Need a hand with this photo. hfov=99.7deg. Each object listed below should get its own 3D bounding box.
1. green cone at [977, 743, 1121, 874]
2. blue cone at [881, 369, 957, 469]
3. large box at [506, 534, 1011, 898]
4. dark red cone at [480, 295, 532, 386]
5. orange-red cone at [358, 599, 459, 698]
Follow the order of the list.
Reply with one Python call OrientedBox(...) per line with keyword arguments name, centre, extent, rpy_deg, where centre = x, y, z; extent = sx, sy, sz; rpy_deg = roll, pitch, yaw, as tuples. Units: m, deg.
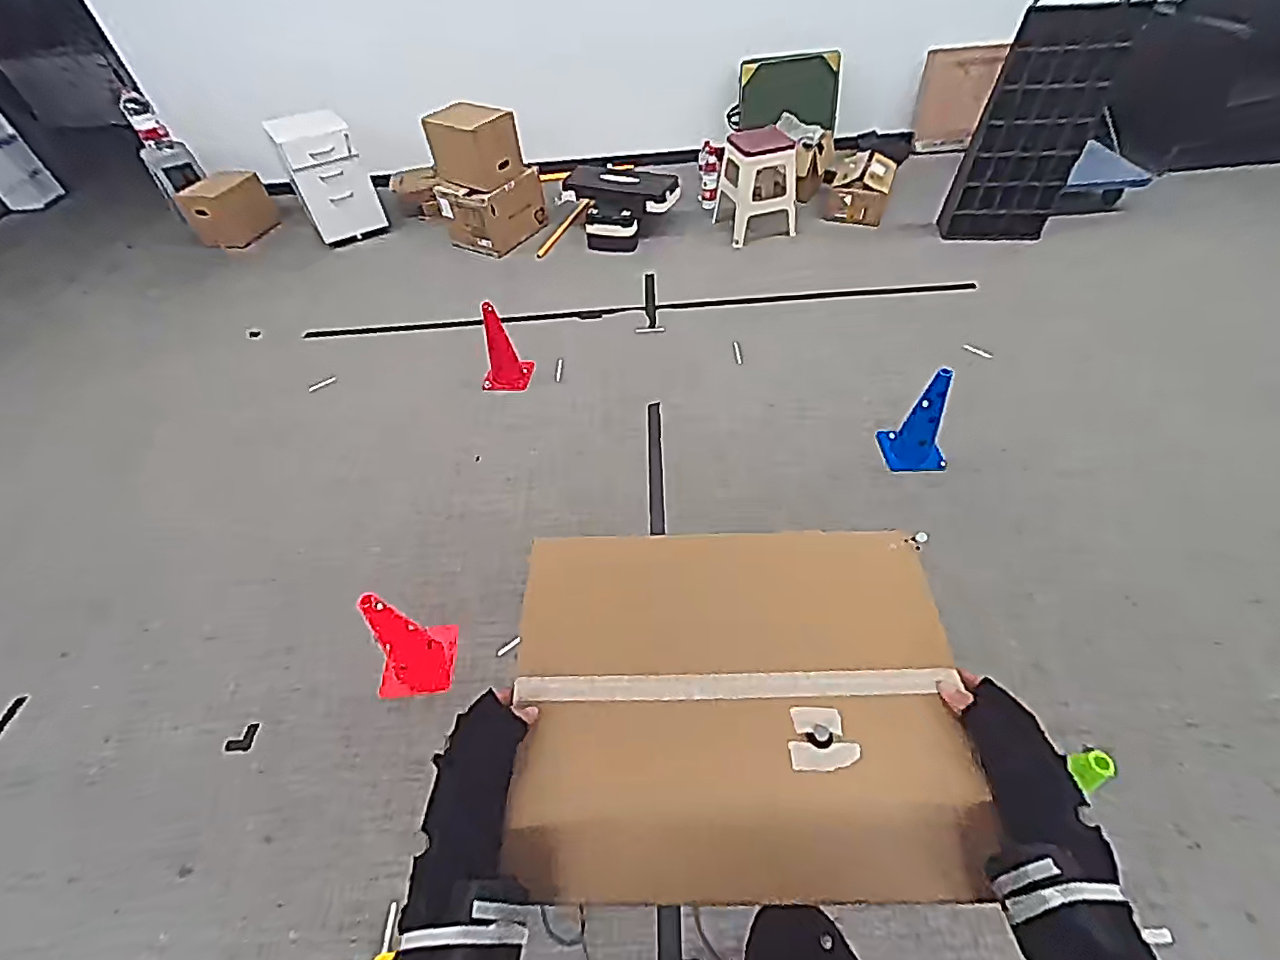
OrientedBox(name="green cone", centre=(0.849, 0.623, 1.099), extent=(0.202, 0.368, 0.200), rpy_deg=(-32, 54, -23))
OrientedBox(name="blue cone", centre=(0.981, -0.217, 1.846), extent=(0.192, 0.380, 0.193), rpy_deg=(0, 49, 3))
OrientedBox(name="large box", centre=(0.091, 0.275, 0.625), extent=(0.408, 0.320, 0.320), rpy_deg=(-1, 56, 1))
OrientedBox(name="dark red cone", centre=(-0.596, -0.583, 2.258), extent=(0.201, 0.394, 0.202), rpy_deg=(2, 49, 5))
OrientedBox(name="orange-red cone", centre=(-0.640, 0.413, 1.423), extent=(0.198, 0.360, 0.199), rpy_deg=(-6, 50, 1))
